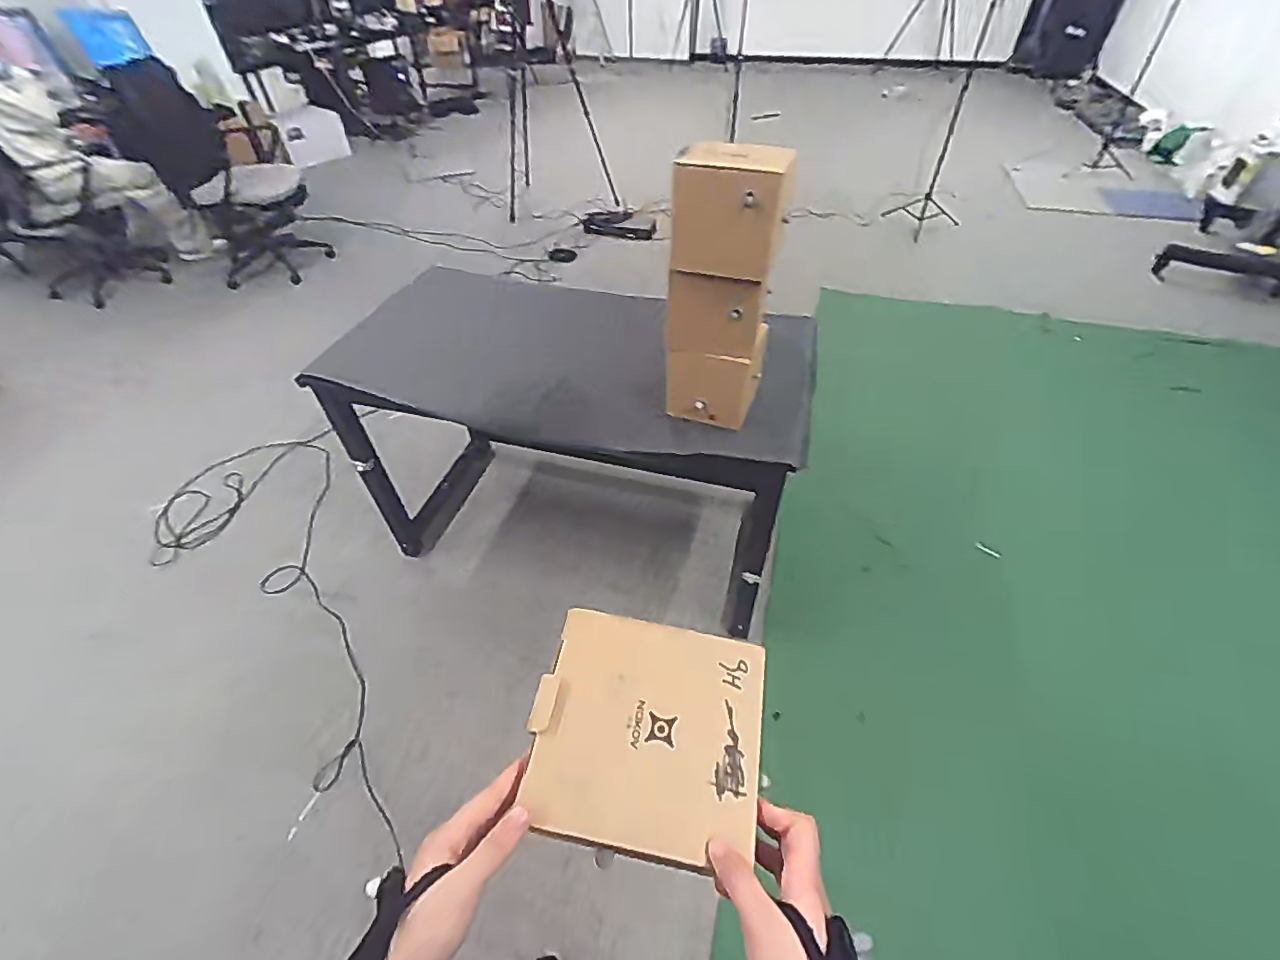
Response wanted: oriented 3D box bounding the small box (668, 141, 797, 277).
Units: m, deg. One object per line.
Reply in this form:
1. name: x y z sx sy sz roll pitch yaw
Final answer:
1. small box: 0.155 -0.462 0.925 0.179 0.176 0.168 13 43 15

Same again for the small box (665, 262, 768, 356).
1. small box: 0.151 -0.358 1.056 0.179 0.176 0.168 8 43 12

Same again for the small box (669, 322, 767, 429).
1. small box: 0.163 -0.238 1.164 0.168 0.176 0.179 15 46 17
